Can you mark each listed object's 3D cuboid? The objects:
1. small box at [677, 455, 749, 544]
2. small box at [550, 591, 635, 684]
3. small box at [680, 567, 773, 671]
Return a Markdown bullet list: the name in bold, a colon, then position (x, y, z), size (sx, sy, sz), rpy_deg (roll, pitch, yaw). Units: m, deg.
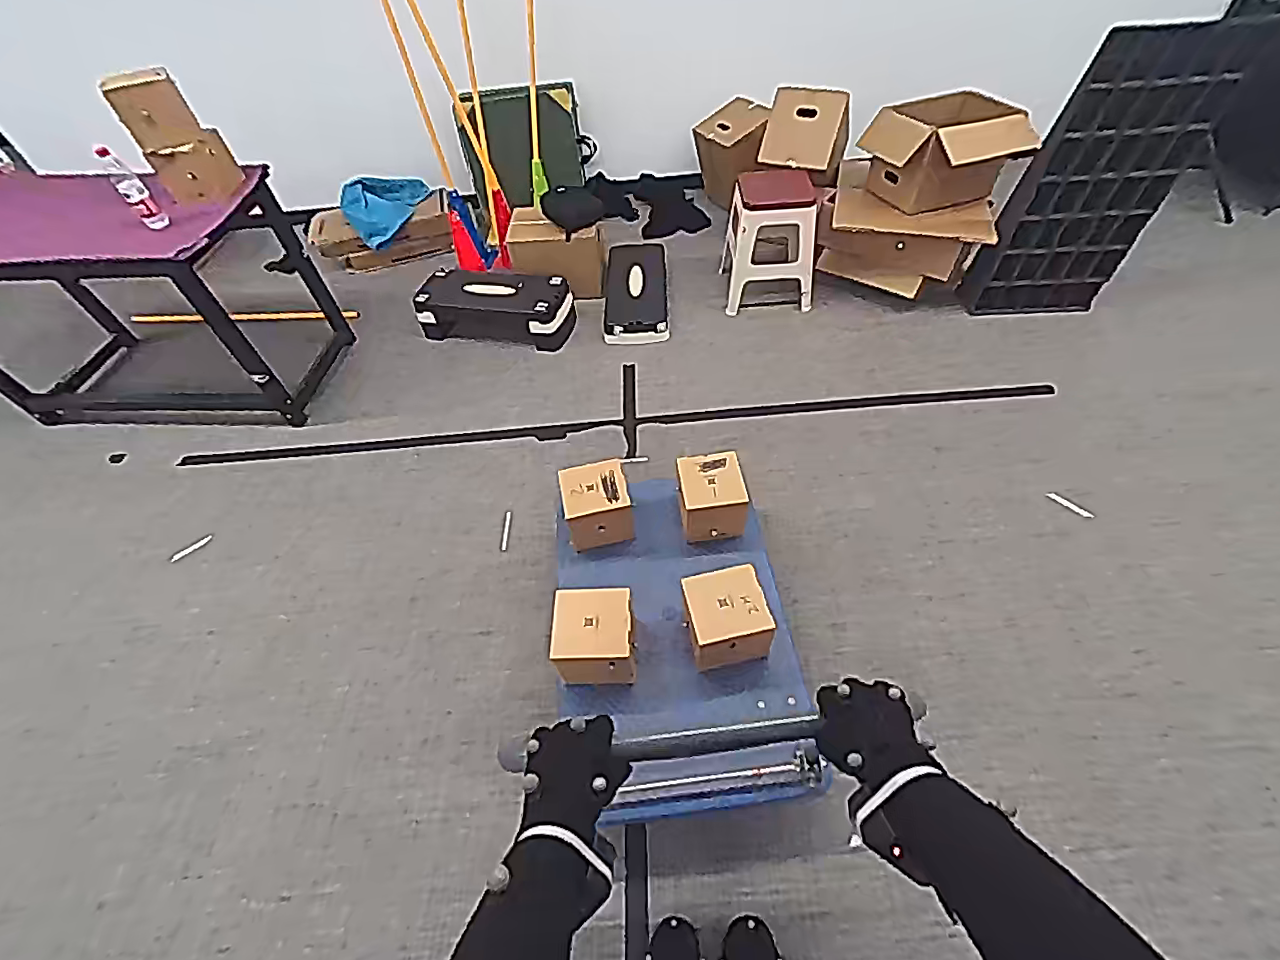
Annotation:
- **small box**: position (0.195, 0.056, 1.499), size (0.168, 0.176, 0.179), rpy_deg (-7, 53, -1)
- **small box**: position (-0.104, 0.375, 1.276), size (0.179, 0.176, 0.168), rpy_deg (-2, 52, 2)
- **small box**: position (0.200, 0.333, 1.280), size (0.179, 0.176, 0.168), rpy_deg (-12, 52, -4)
